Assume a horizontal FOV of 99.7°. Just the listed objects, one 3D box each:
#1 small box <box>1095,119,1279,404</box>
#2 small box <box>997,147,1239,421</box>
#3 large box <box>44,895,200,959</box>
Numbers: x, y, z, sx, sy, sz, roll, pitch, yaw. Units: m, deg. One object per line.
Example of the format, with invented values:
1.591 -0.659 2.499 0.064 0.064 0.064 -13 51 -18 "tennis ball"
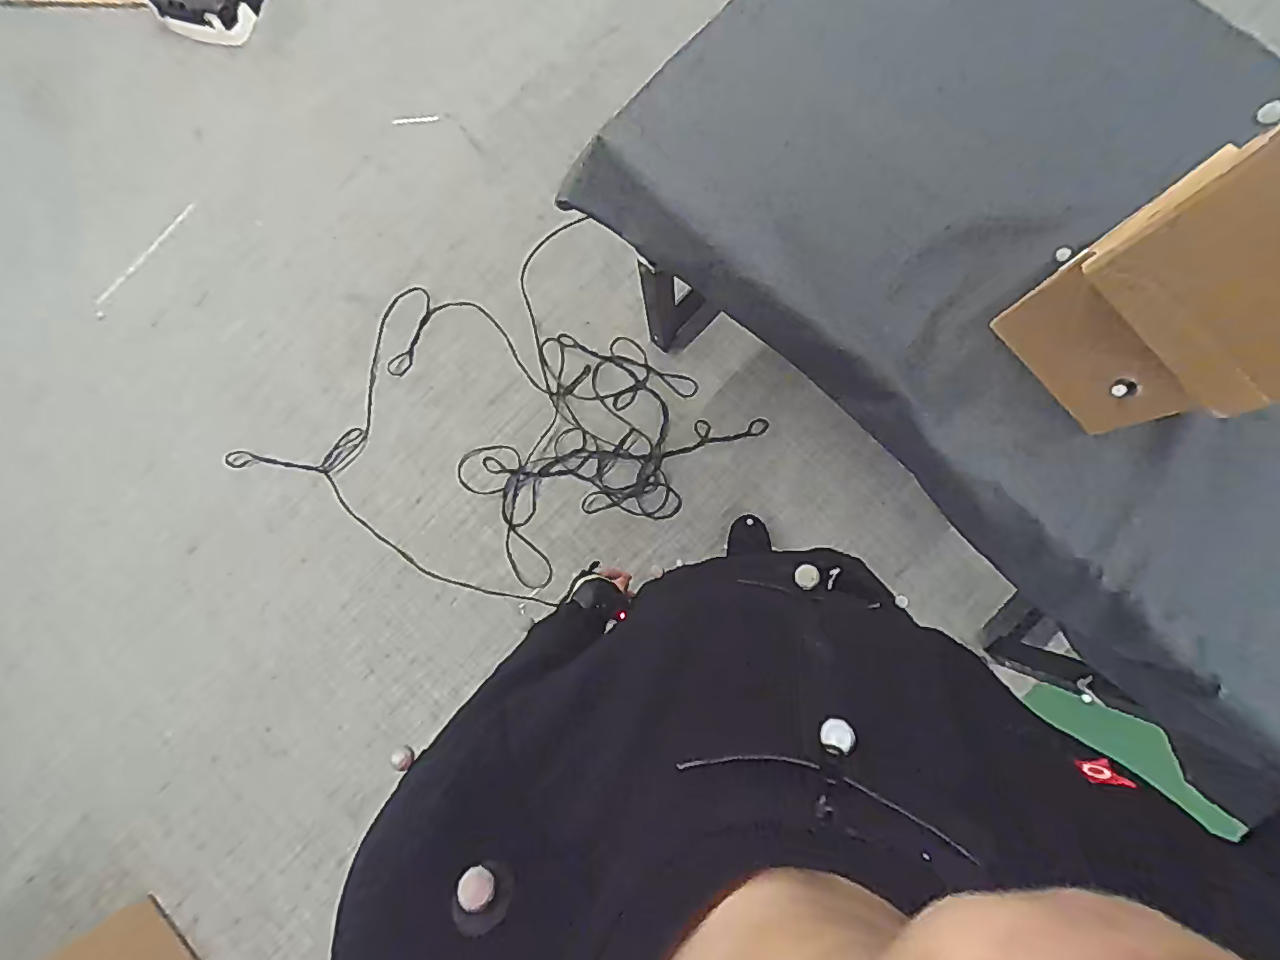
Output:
0.504 -0.182 0.394 0.168 0.176 0.179 -36 83 -2 "small box"
0.529 -0.178 0.555 0.168 0.176 0.179 -38 81 -2 "small box"
-1.226 1.278 1.204 0.408 0.320 0.320 44 88 9 "large box"
